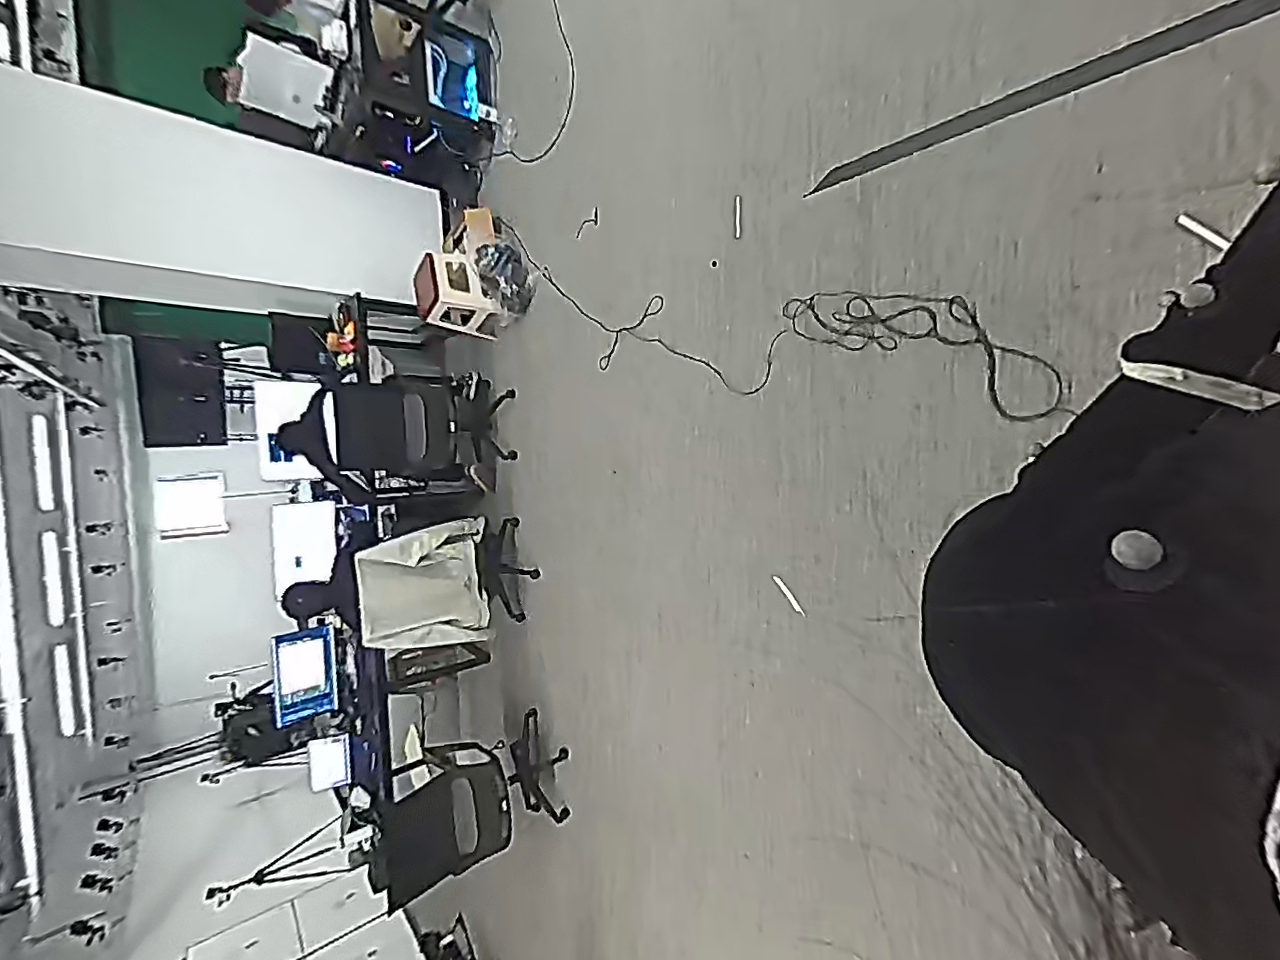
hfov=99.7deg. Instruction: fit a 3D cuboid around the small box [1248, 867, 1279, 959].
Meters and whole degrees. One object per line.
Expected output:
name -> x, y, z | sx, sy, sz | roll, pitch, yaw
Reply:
small box -> 1.196, 0.818, 0.934 | 0.179, 0.176, 0.168 | 11, 102, 49
